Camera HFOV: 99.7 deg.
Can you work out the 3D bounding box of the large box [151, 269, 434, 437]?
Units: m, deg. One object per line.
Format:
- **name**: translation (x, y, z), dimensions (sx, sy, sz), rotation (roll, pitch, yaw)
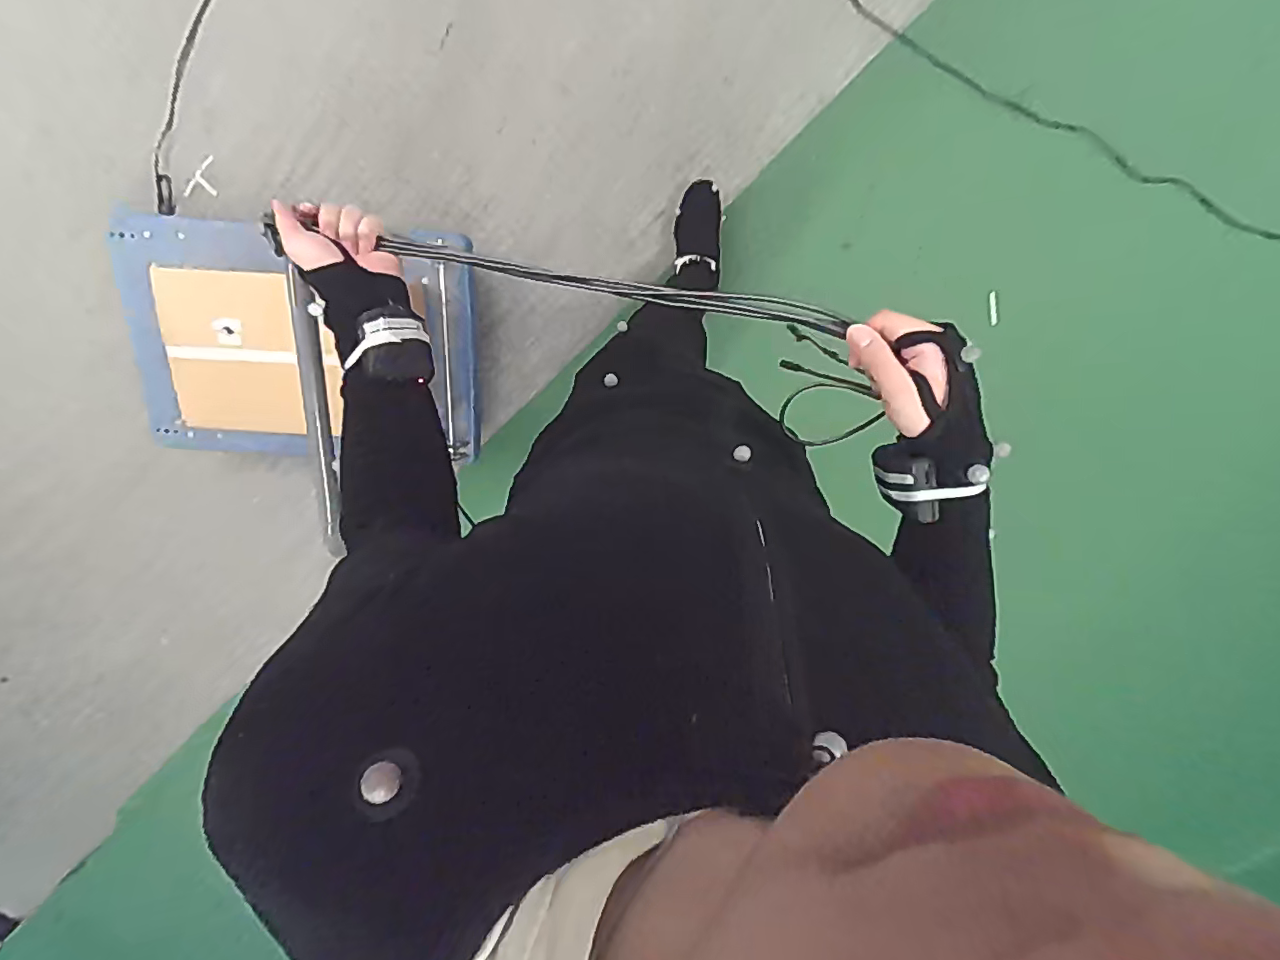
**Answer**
- **large box**: translation (-0.724, -0.291, 1.201), dimensions (0.408, 0.320, 0.320), rotation (4, 108, 1)
